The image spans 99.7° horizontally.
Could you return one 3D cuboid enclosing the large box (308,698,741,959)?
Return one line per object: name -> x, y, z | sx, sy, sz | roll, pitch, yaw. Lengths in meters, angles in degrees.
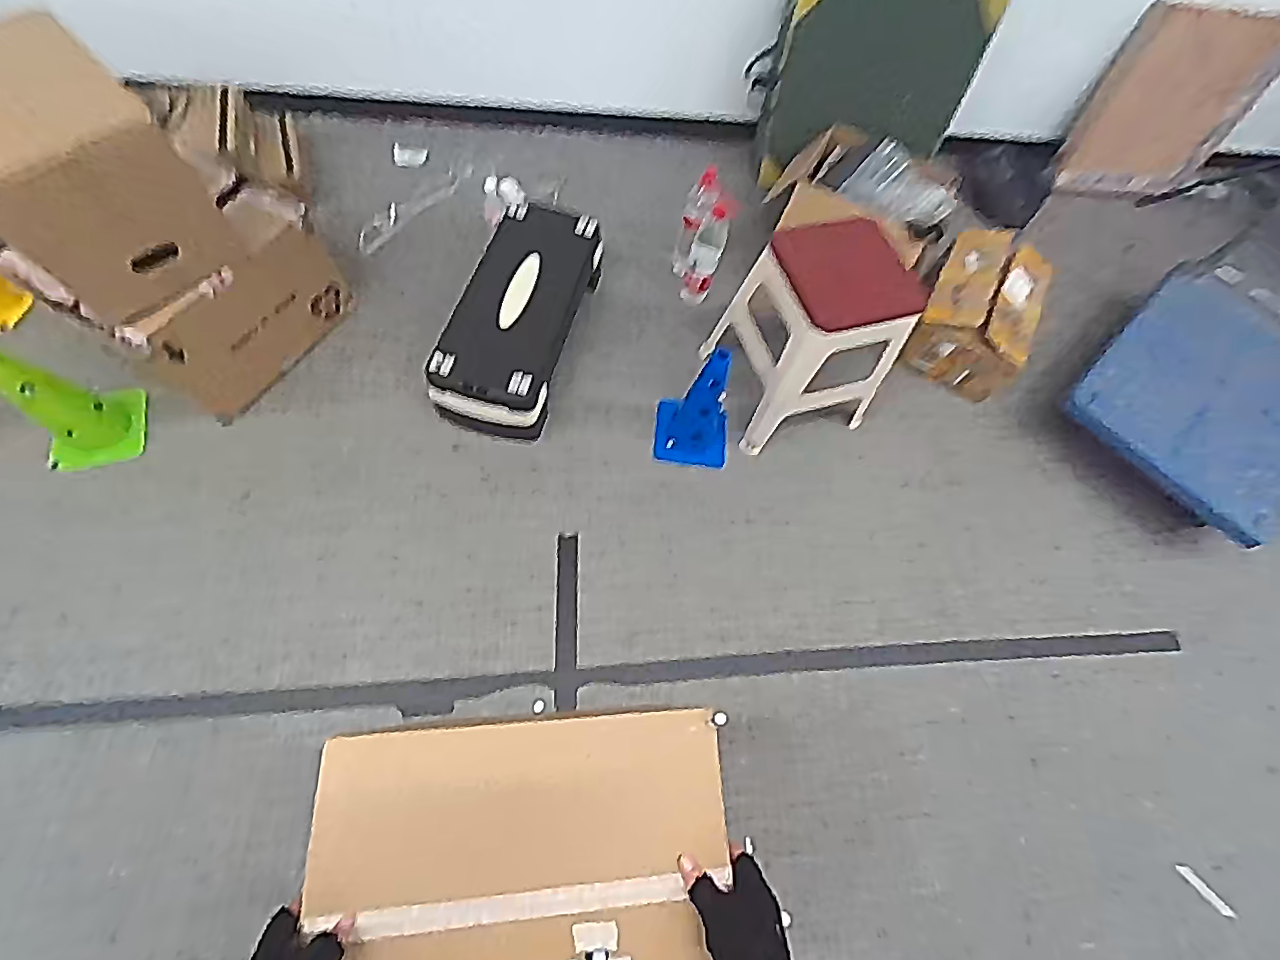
large box -> -0.122, 0.449, 0.660 | 0.408, 0.320, 0.320 | -2, 69, -7
